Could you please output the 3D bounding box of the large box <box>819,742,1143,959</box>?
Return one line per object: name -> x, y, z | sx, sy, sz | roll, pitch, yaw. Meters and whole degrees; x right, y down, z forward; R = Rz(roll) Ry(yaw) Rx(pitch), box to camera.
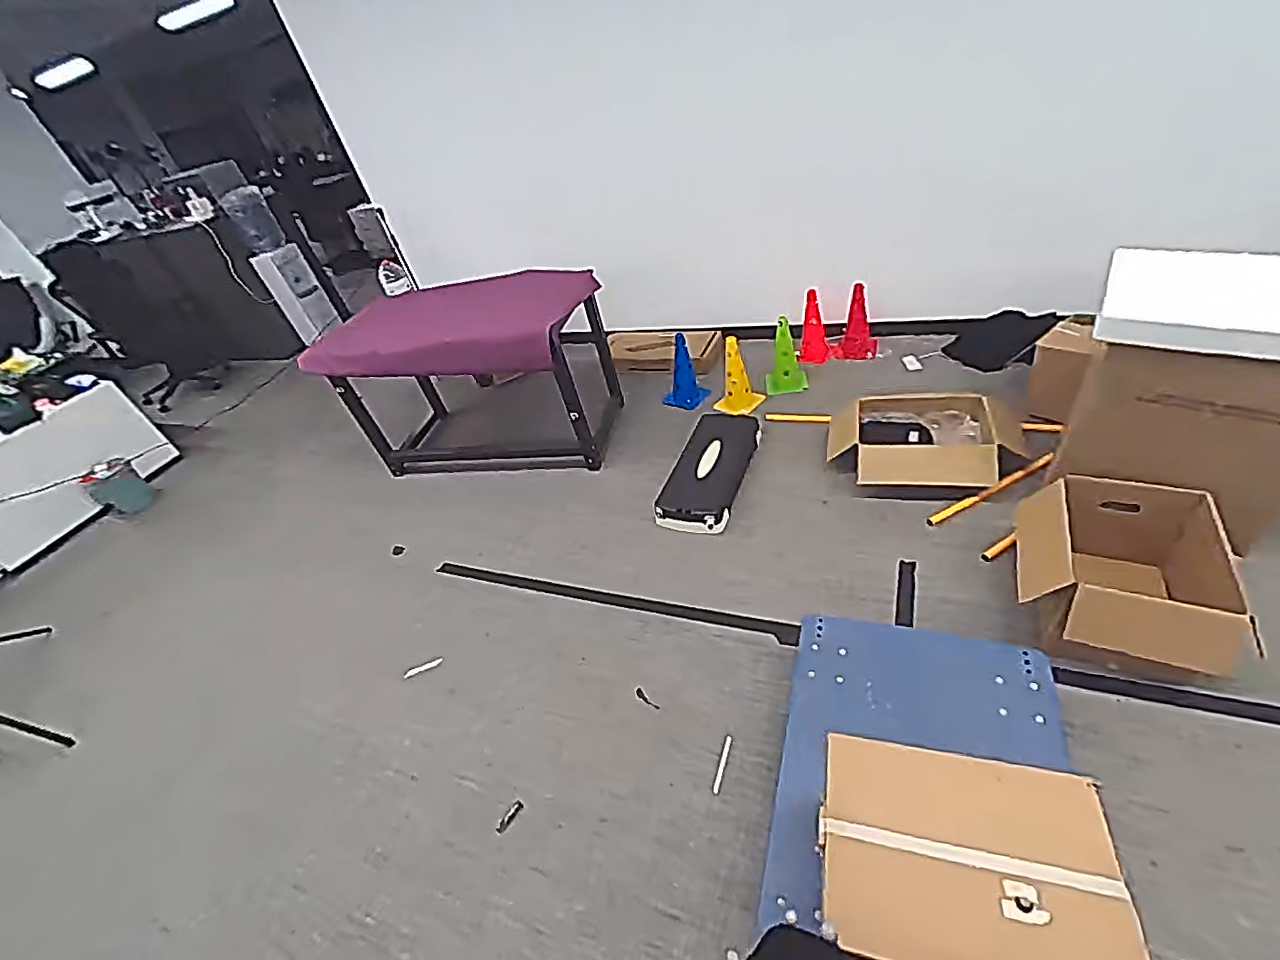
large box -> 0.522, 0.698, 0.919 | 0.408, 0.320, 0.320 | 2, 43, 18
